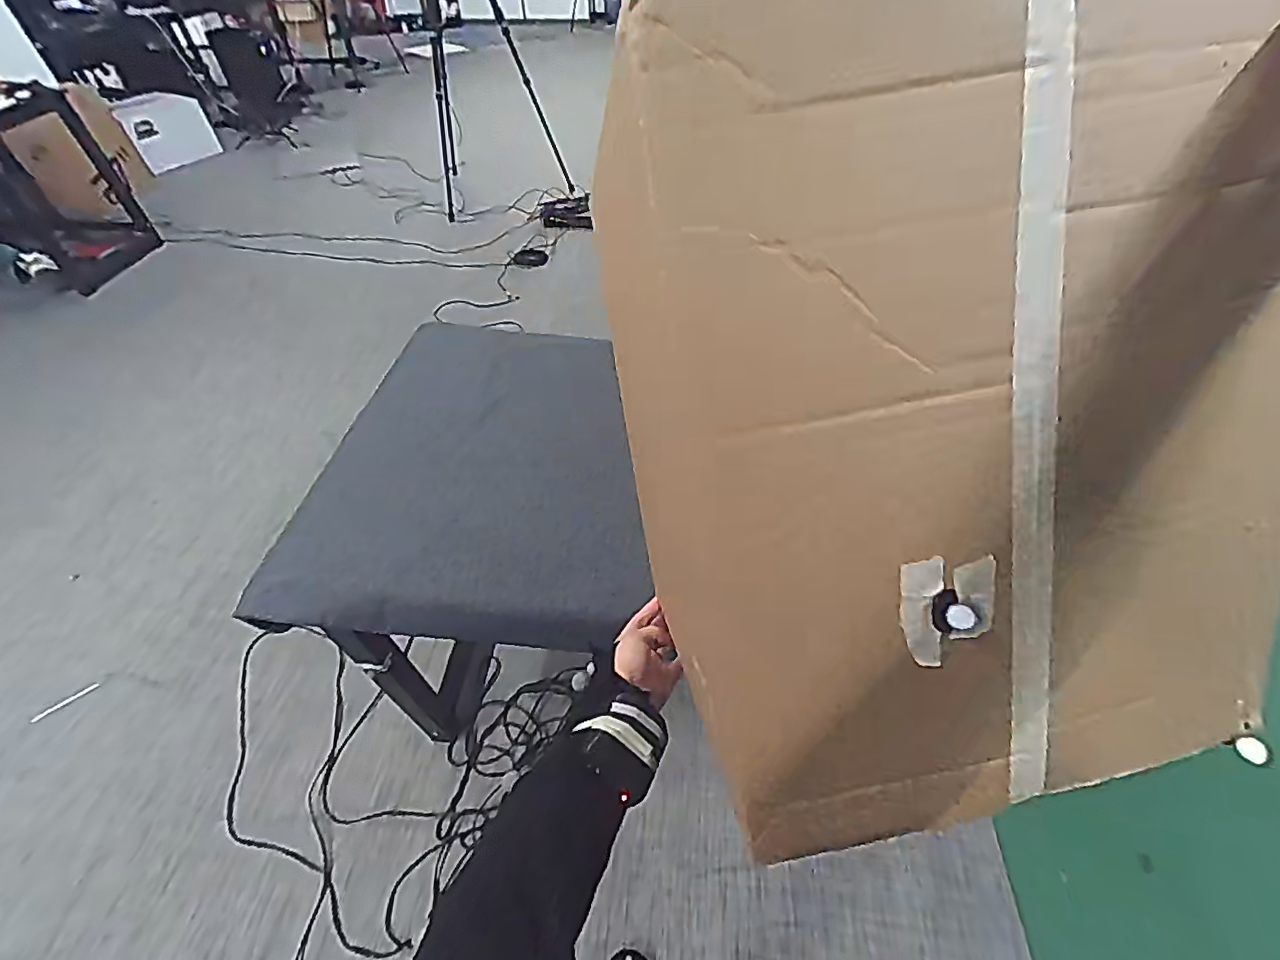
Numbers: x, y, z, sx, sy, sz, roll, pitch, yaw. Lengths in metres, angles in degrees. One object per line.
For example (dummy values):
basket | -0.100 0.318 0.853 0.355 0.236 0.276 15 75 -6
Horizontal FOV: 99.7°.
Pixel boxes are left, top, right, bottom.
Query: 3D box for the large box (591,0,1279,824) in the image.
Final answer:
large box | 0.162 -0.055 0.415 0.320 0.408 0.320 -12 18 -5
